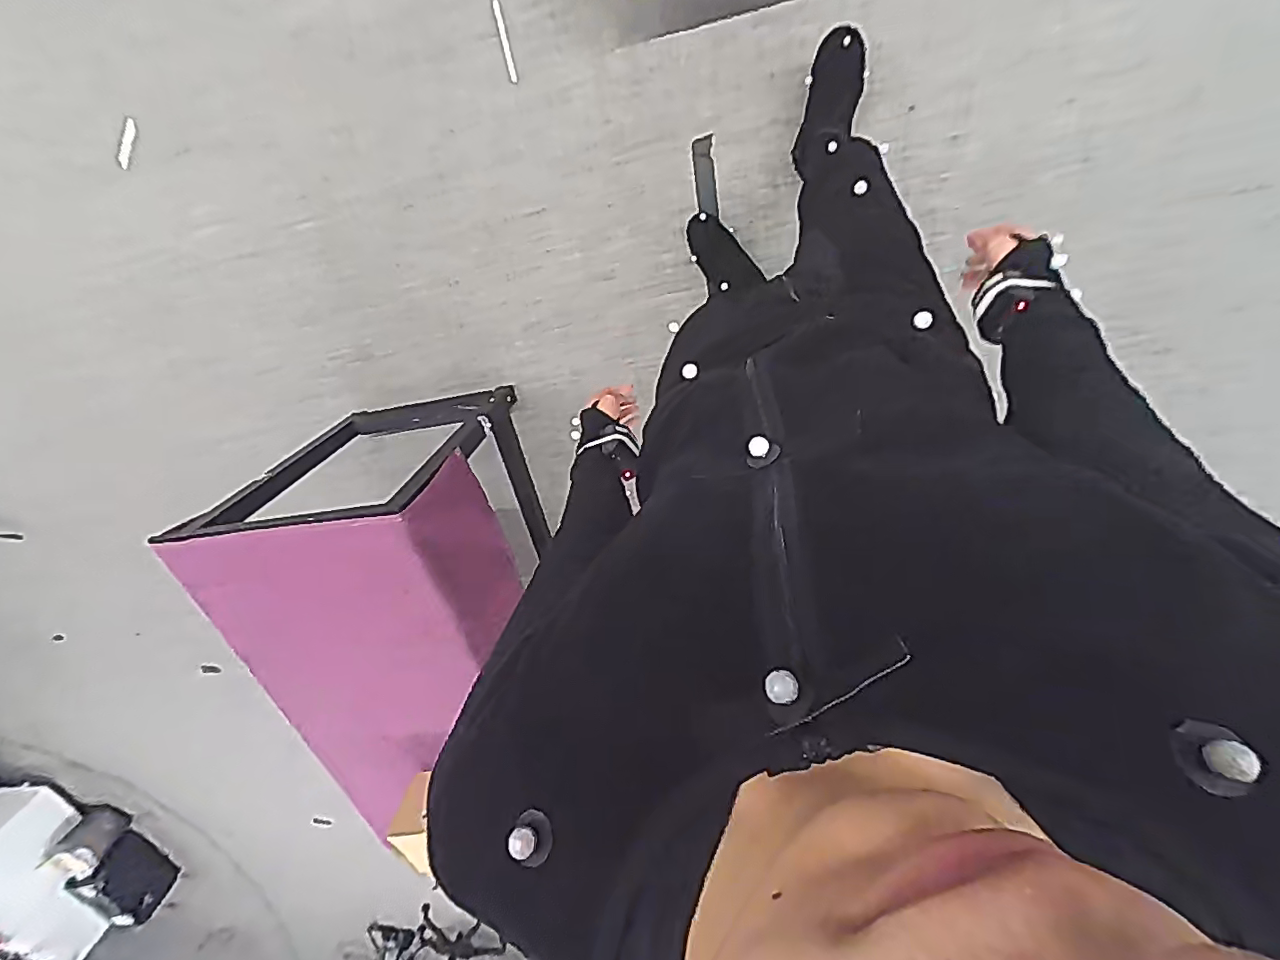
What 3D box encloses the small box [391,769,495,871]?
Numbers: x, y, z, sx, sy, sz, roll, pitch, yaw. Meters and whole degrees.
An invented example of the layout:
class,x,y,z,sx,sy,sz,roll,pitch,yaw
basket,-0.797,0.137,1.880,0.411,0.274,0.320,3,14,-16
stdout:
class,x,y,z,sx,sy,sz,roll,pitch,yaw
small box,-0.501,0.884,1.415,0.179,0.176,0.168,-15,116,15
